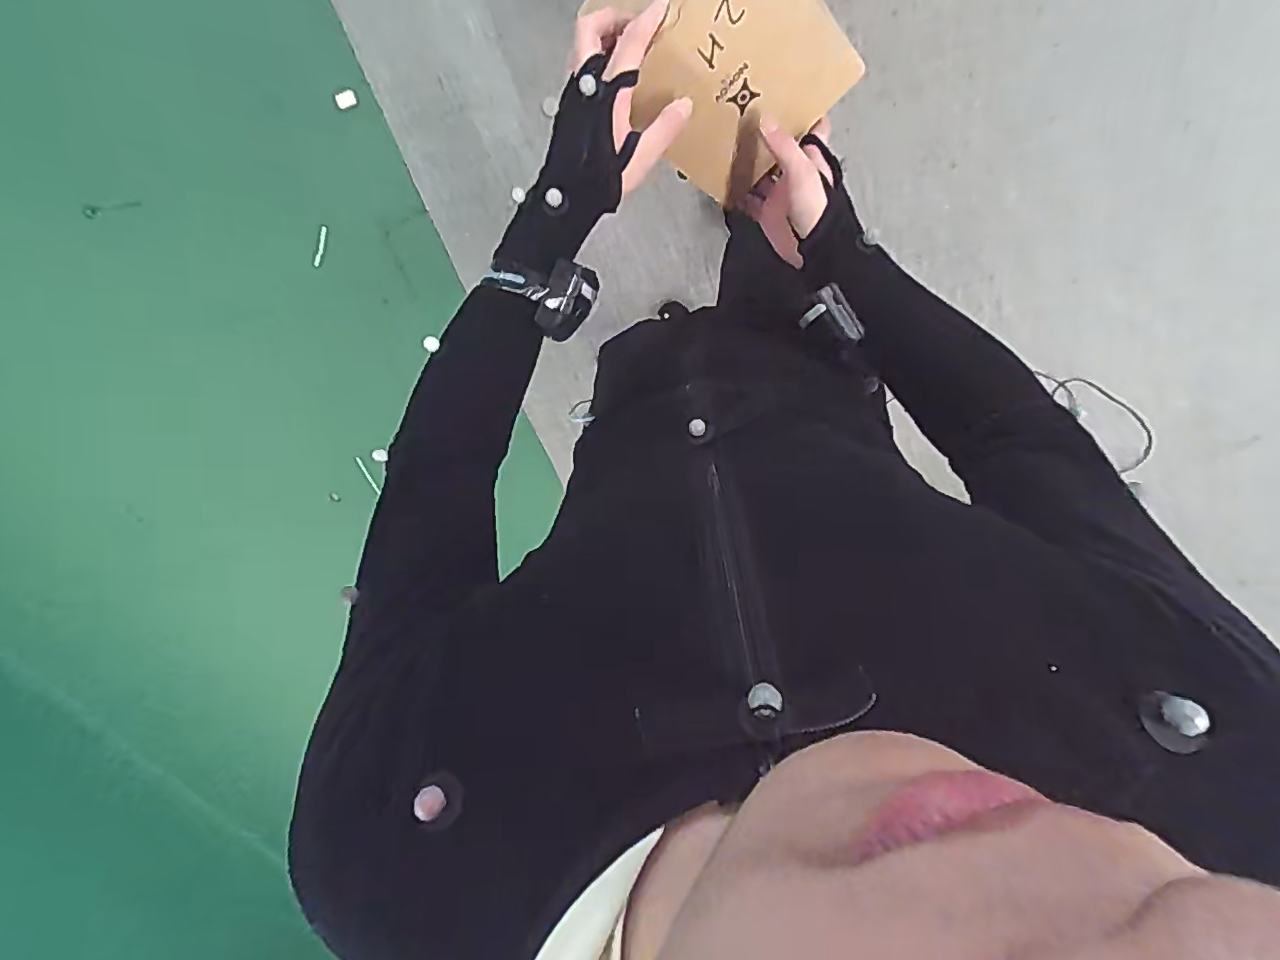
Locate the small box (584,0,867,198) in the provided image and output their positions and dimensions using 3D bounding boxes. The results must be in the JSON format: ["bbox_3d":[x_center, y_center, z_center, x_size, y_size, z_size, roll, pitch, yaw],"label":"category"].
[{"bbox_3d":[0.071,-0.416,0.497,0.179,0.176,0.168,14,143,-41],"label":"small box"}]
